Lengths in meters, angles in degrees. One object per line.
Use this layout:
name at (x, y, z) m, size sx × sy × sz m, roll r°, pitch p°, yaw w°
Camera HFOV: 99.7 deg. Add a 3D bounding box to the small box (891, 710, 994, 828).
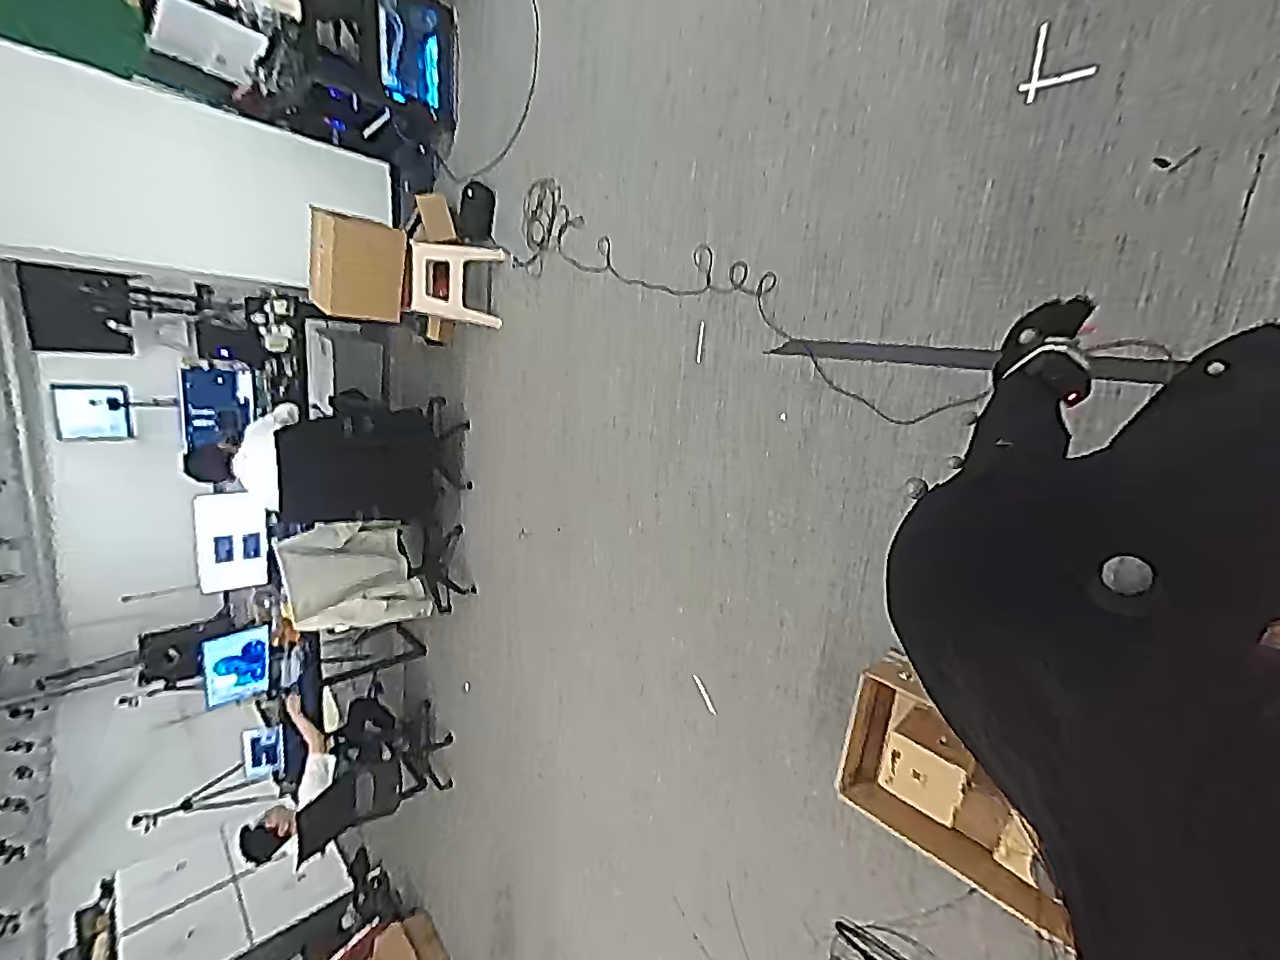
small box at (0.767, 0.715, 1.364) m, size 0.179 × 0.176 × 0.168 m, roll 18°, pitch 107°, yaw 41°
